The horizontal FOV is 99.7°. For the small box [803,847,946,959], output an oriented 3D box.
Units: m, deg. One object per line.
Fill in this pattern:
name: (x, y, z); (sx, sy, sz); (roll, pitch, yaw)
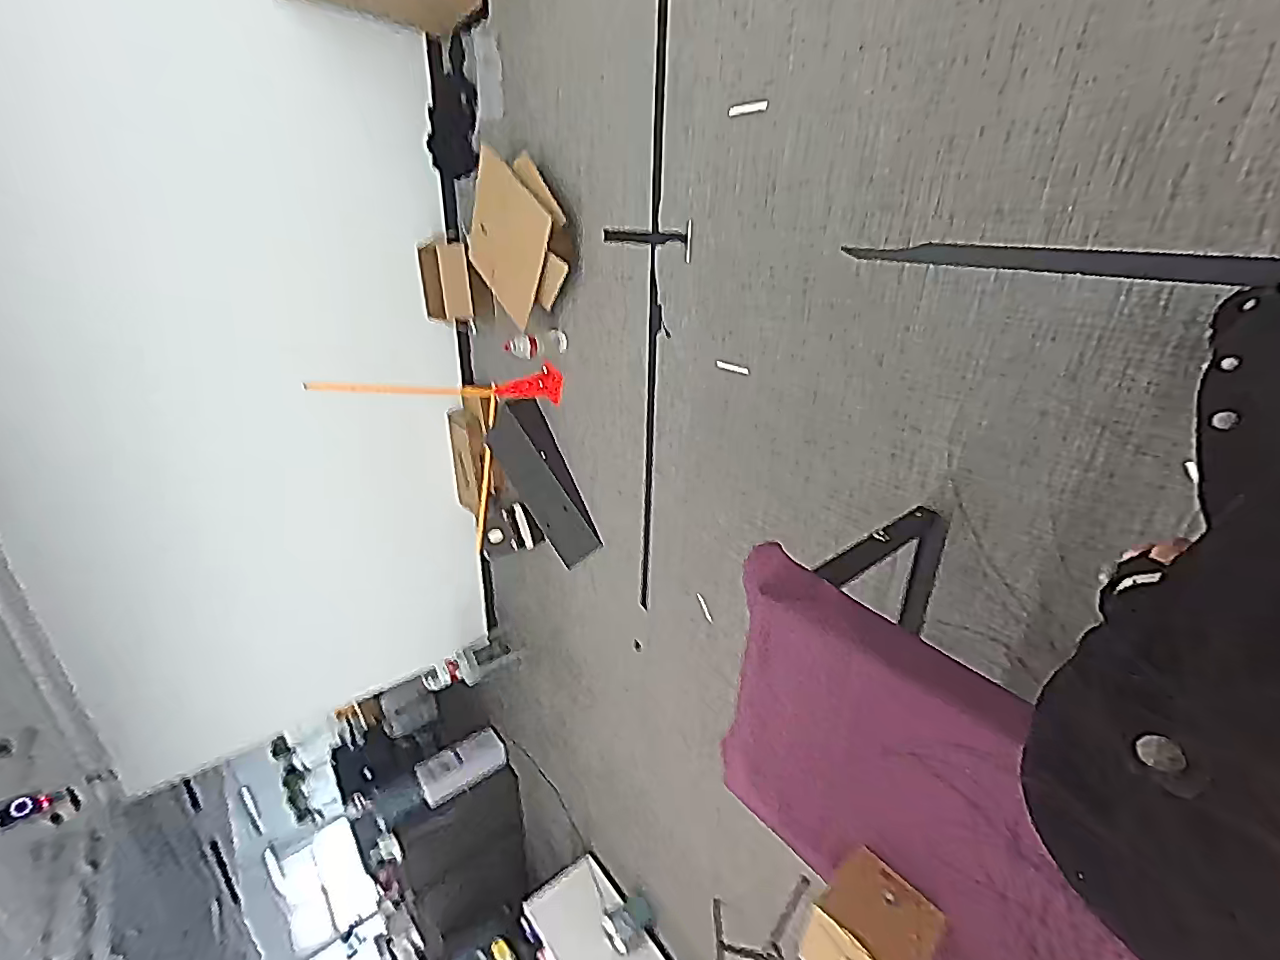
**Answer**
small box: (0.425, 0.832, 0.983); (0.168, 0.176, 0.179); (27, 123, 44)
